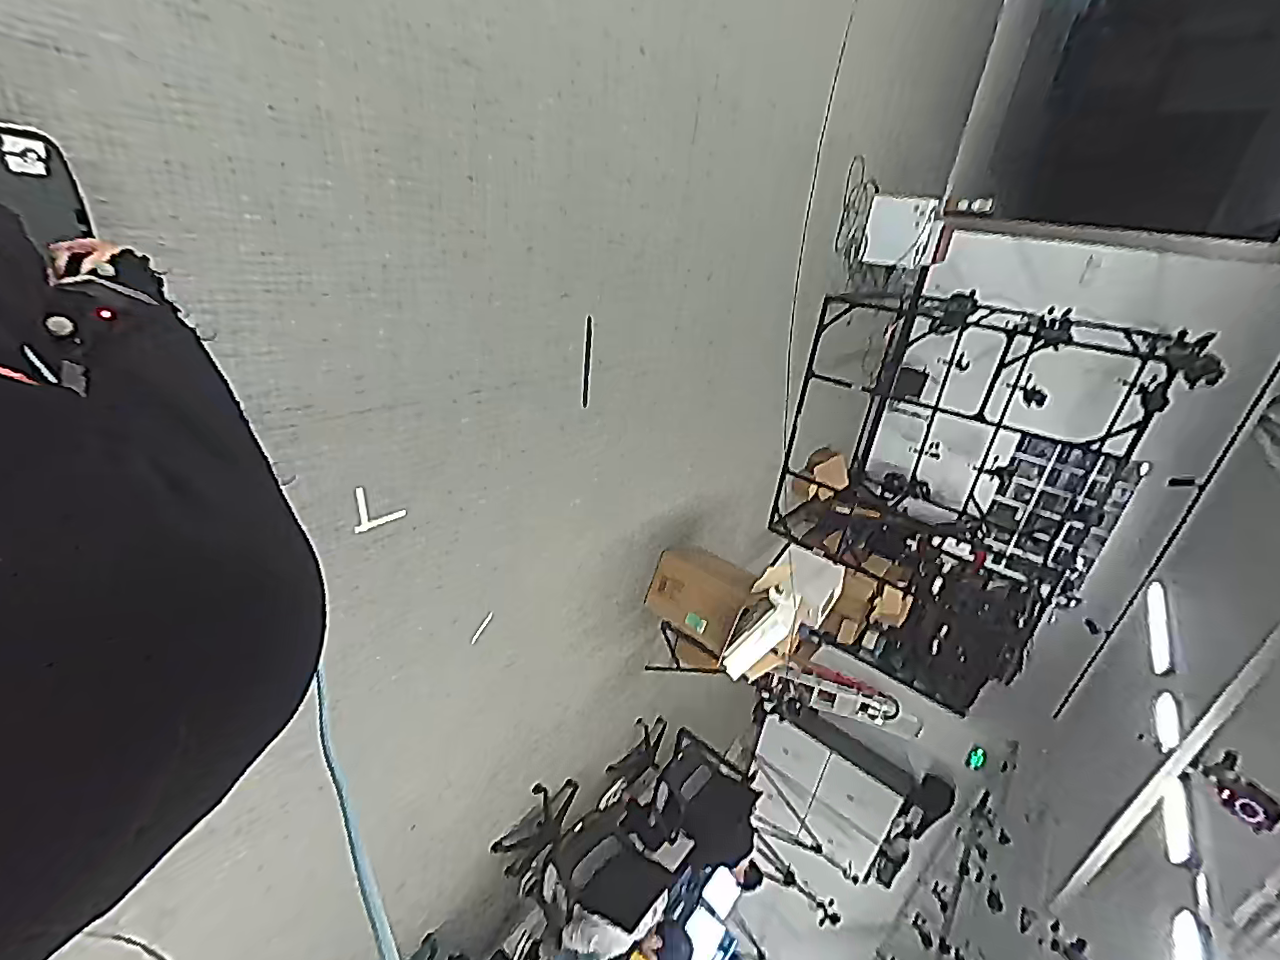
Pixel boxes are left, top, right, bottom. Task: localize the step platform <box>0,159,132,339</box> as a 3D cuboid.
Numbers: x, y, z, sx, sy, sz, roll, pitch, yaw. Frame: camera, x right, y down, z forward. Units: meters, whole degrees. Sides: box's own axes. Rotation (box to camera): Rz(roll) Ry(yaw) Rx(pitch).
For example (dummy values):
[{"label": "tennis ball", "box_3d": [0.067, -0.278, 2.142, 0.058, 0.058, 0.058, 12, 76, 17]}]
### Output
[{"label": "step platform", "box_3d": [-1.211, -0.365, 0.788, 0.684, 0.204, 0.286, -18, 124, -50]}]
